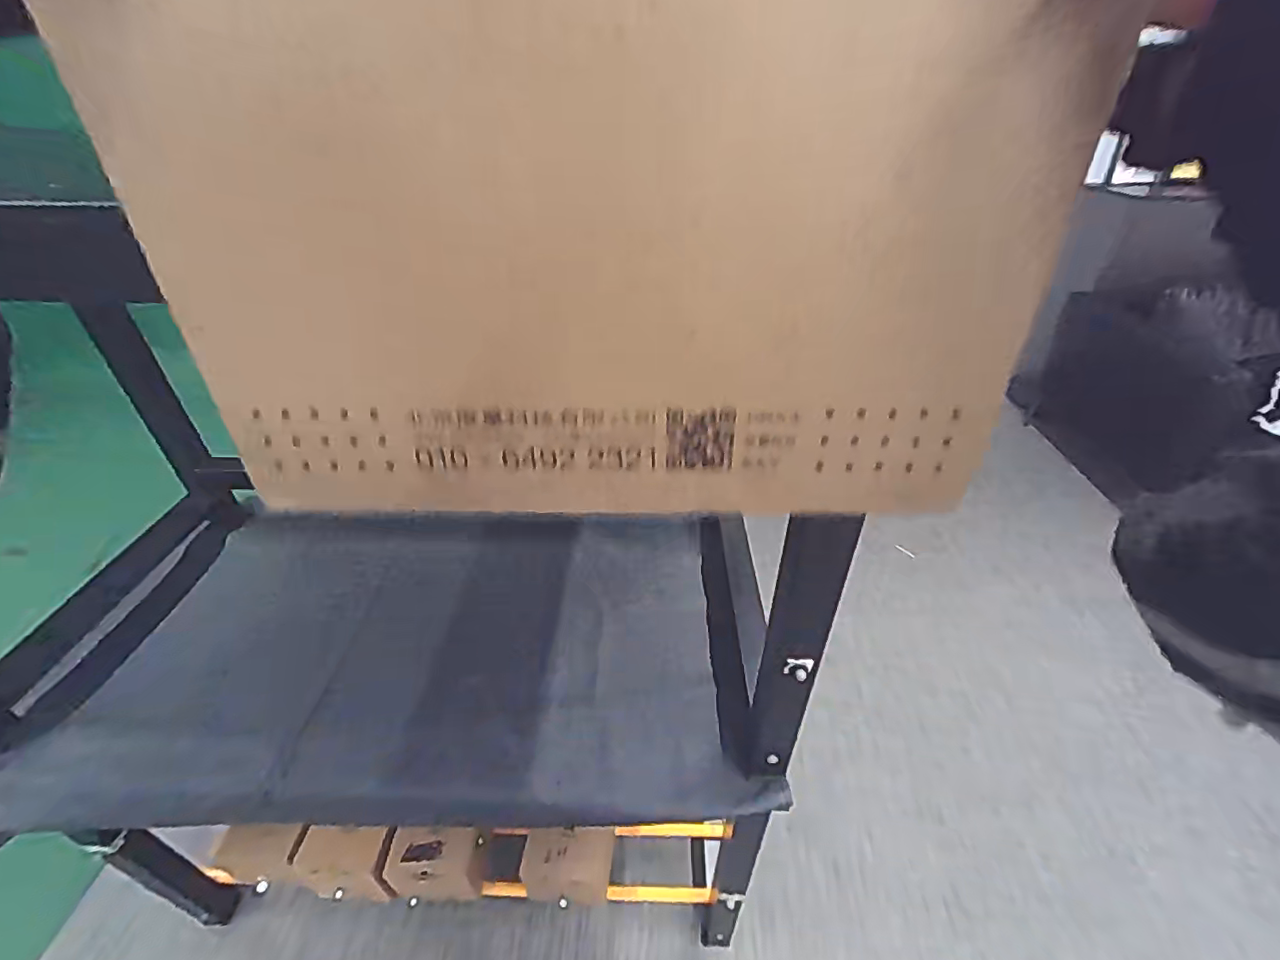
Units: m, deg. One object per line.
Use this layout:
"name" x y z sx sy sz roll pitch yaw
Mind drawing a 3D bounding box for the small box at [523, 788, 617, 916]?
"small box" -0.142 0.807 1.176 0.168 0.176 0.179 3 38 6
